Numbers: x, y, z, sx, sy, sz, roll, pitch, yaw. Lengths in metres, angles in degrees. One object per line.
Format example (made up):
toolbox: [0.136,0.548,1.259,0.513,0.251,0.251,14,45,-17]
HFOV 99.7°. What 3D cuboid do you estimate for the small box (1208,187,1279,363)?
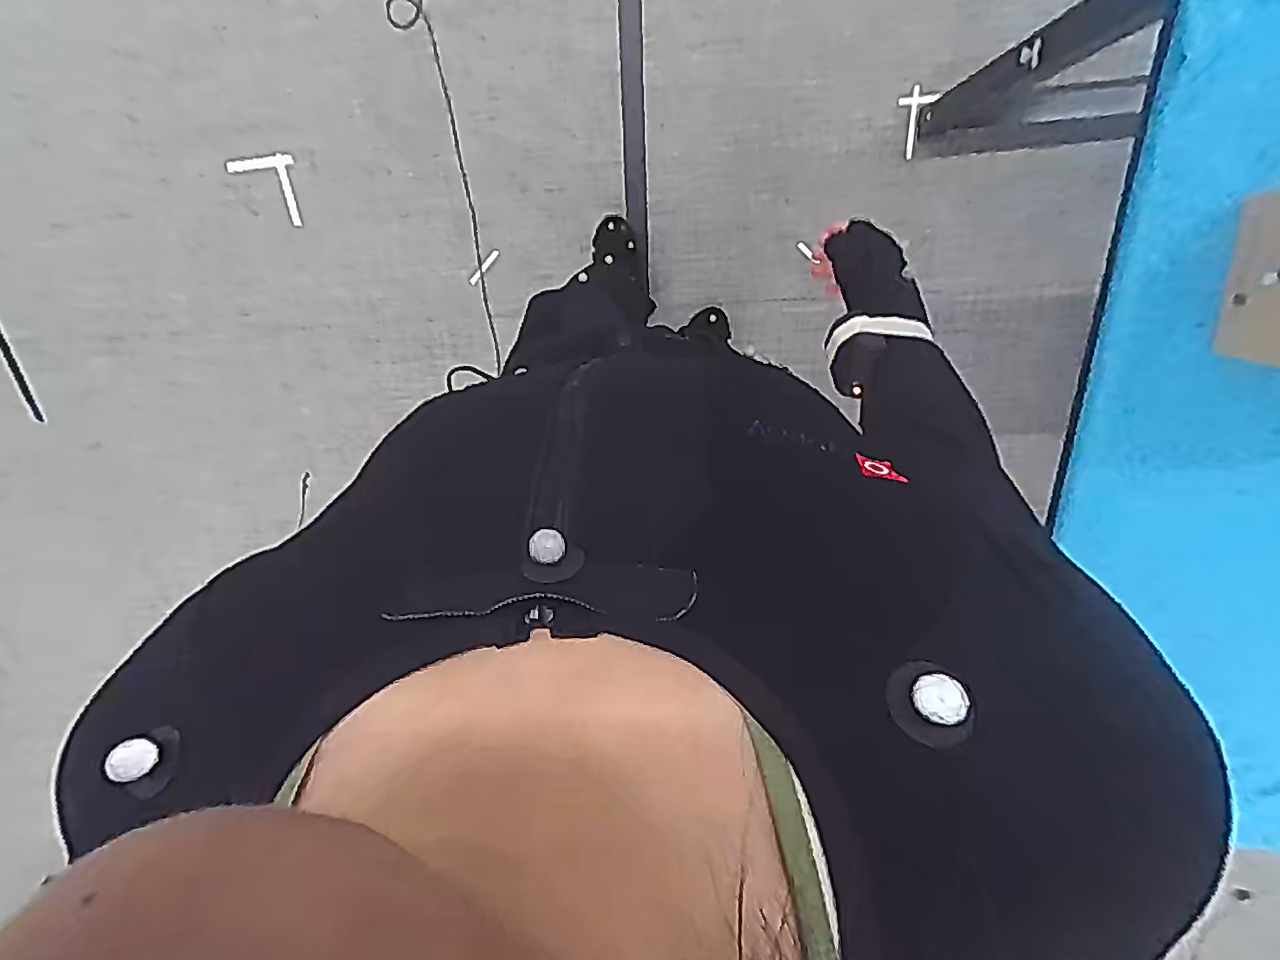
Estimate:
small box: [0.707,-0.195,0.496,0.179,0.176,0.168,-2,111,9]
